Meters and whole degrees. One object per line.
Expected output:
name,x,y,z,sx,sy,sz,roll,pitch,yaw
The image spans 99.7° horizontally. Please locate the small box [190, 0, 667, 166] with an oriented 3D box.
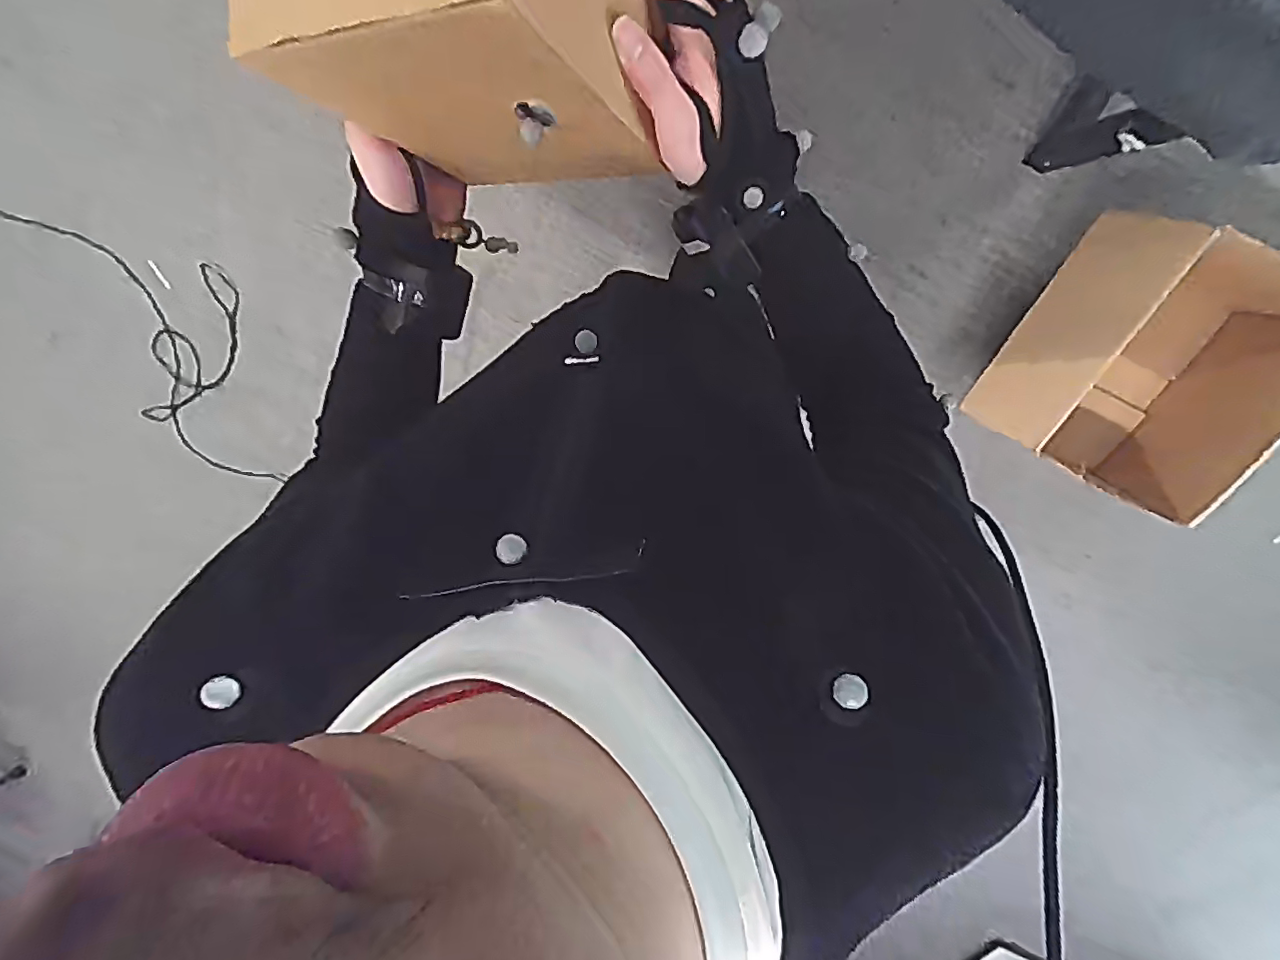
small box,-0.088,-0.284,0.275,0.179,0.176,0.168,11,100,25
